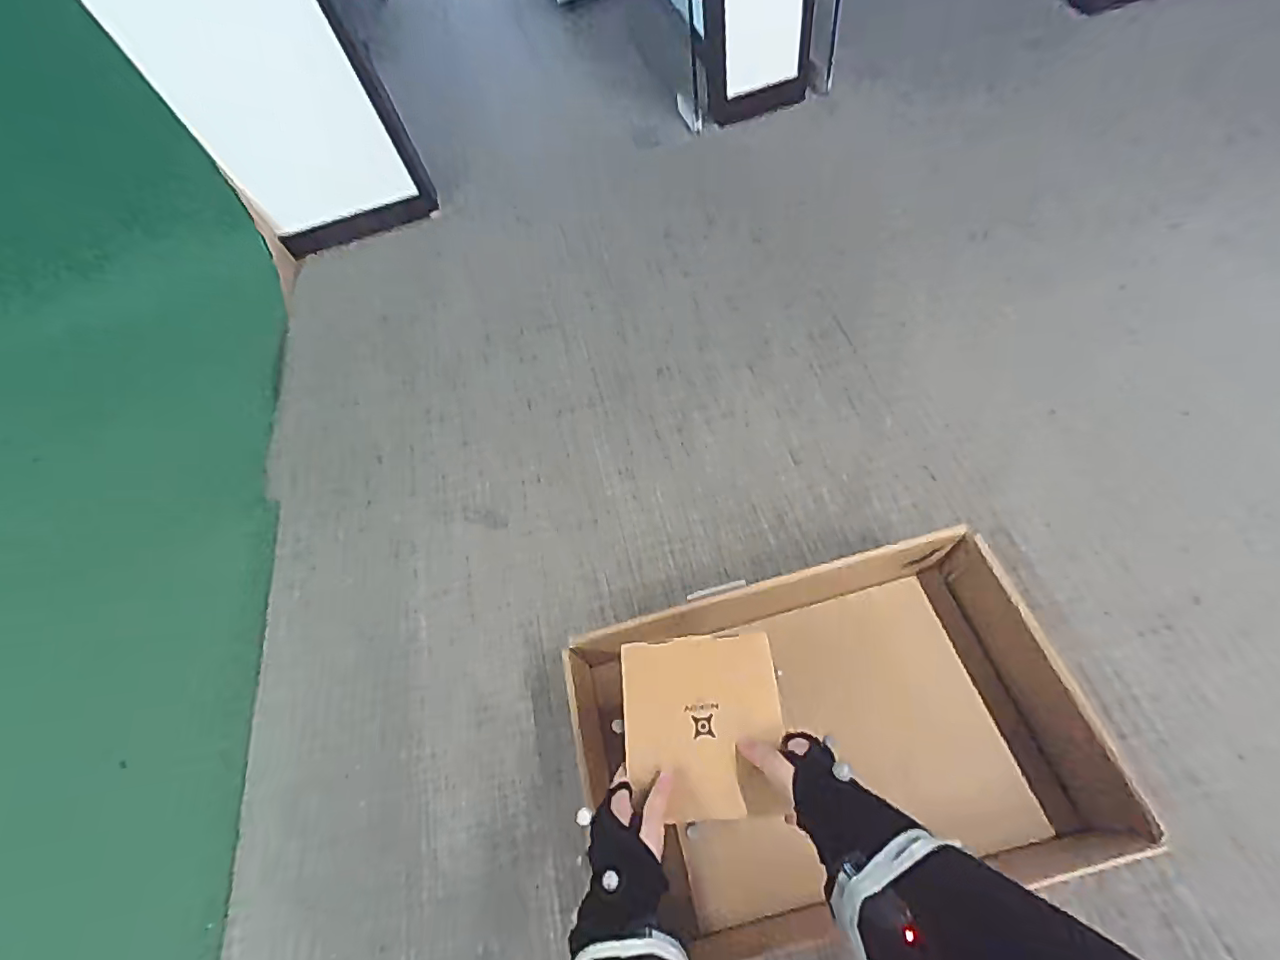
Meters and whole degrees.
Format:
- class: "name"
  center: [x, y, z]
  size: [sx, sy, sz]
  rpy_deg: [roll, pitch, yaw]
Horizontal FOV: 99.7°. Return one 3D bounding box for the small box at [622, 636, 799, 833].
- class: "small box"
  center: [0.073, 0.293, 0.617]
  size: [0.168, 0.176, 0.179]
  rpy_deg: [-6, 56, 3]
